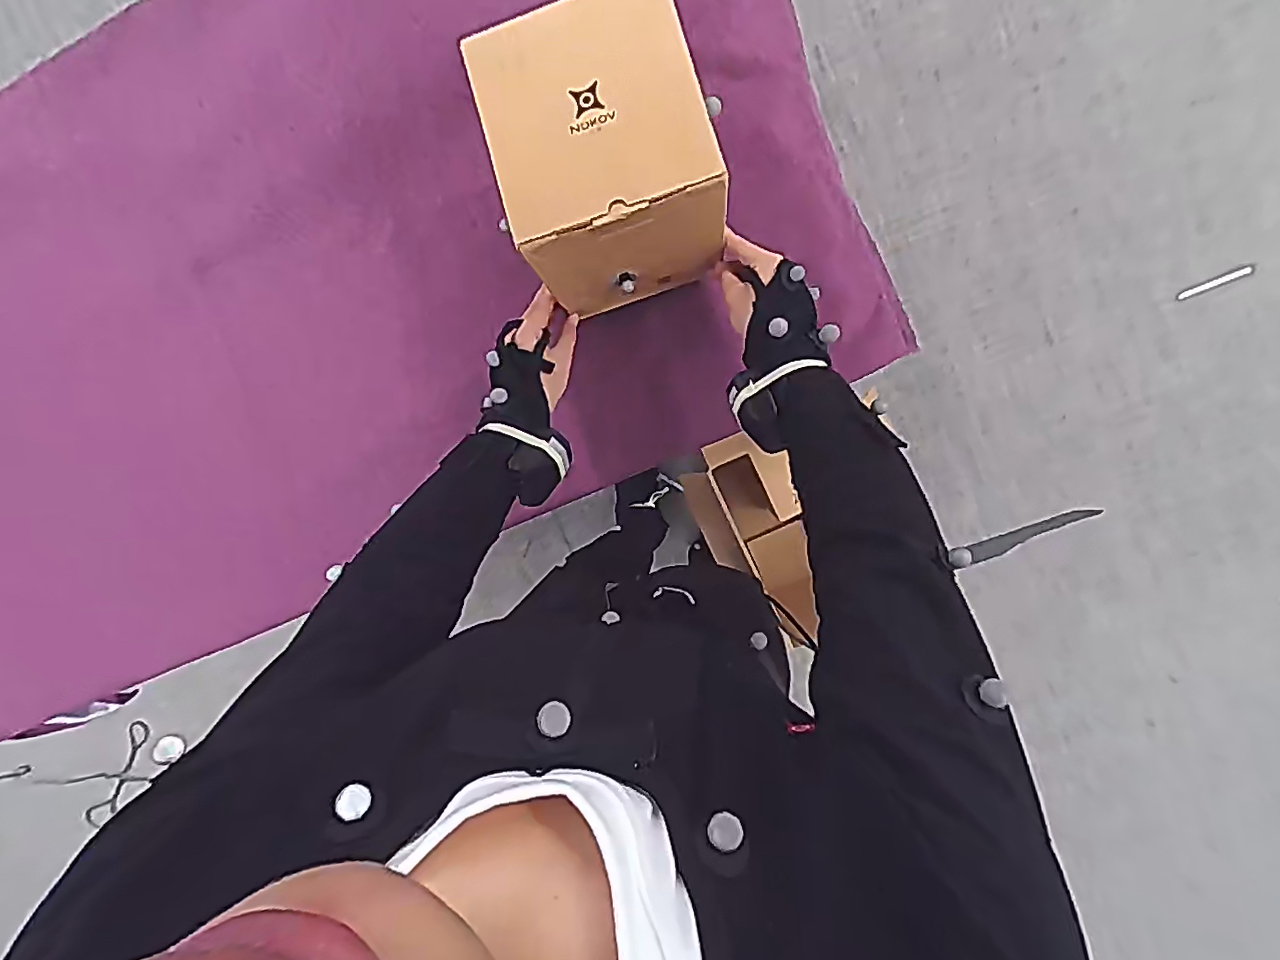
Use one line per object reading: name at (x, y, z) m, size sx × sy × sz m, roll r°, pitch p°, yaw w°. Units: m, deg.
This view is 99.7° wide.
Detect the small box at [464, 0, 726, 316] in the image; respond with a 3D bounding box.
small box at (-0.028, -0.275, 0.484) m, size 0.168 × 0.176 × 0.179 m, roll -16°, pitch 87°, yaw 7°
